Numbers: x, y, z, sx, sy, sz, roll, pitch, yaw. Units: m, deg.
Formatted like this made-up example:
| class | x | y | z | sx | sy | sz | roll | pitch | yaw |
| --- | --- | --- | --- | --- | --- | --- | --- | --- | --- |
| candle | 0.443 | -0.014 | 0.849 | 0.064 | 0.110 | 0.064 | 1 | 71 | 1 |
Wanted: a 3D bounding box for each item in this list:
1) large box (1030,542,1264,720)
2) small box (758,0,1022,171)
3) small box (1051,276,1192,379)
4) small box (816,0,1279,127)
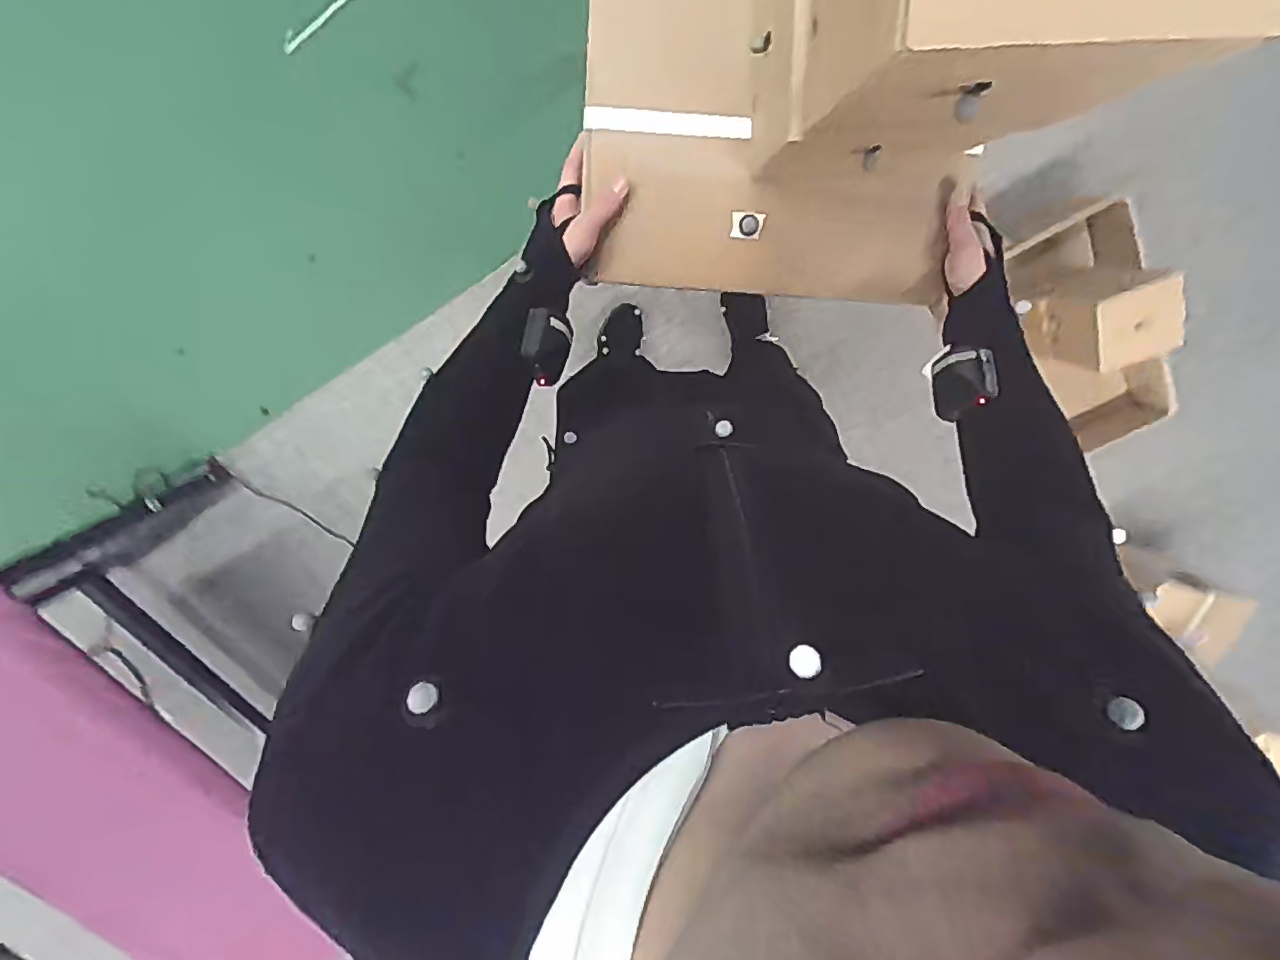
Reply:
| class | x | y | z | sx | sy | sz | roll | pitch | yaw |
| --- | --- | --- | --- | --- | --- | --- | --- | --- | --- |
| large box | 1.527 | 0.457 | 1.675 | 0.320 | 0.320 | 0.408 | 11 | 109 | -5 |
| small box | 0.197 | -0.363 | 0.444 | 0.179 | 0.176 | 0.168 | -2 | 111 | 2 |
| small box | 1.084 | -0.353 | 1.228 | 0.179 | 0.176 | 0.168 | -20 | 111 | 8 |
| small box | 0.205 | -0.306 | 0.290 | 0.179 | 0.176 | 0.168 | -1 | 111 | 3 |
